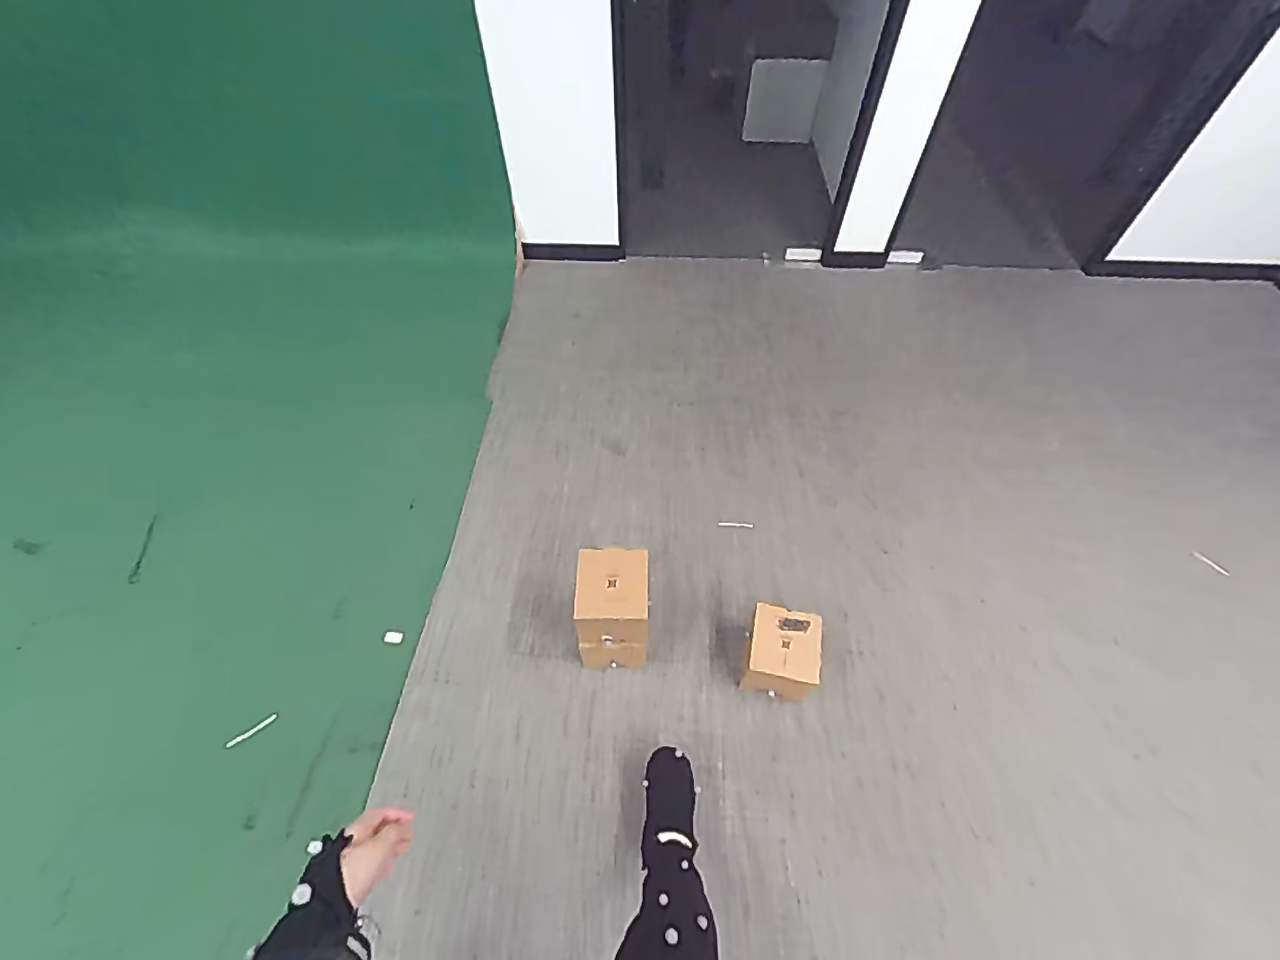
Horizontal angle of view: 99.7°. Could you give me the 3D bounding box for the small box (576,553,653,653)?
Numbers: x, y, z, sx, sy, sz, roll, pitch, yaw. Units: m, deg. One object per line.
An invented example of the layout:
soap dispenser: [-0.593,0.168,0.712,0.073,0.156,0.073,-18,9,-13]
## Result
small box: [-0.054,0.291,1.283,0.168,0.176,0.179,0,51,2]

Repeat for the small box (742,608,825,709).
small box: [0.359,0.451,1.363,0.168,0.176,0.179,11,54,8]

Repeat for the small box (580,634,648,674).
small box: [-0.063,0.390,1.408,0.168,0.176,0.179,0,53,0]
